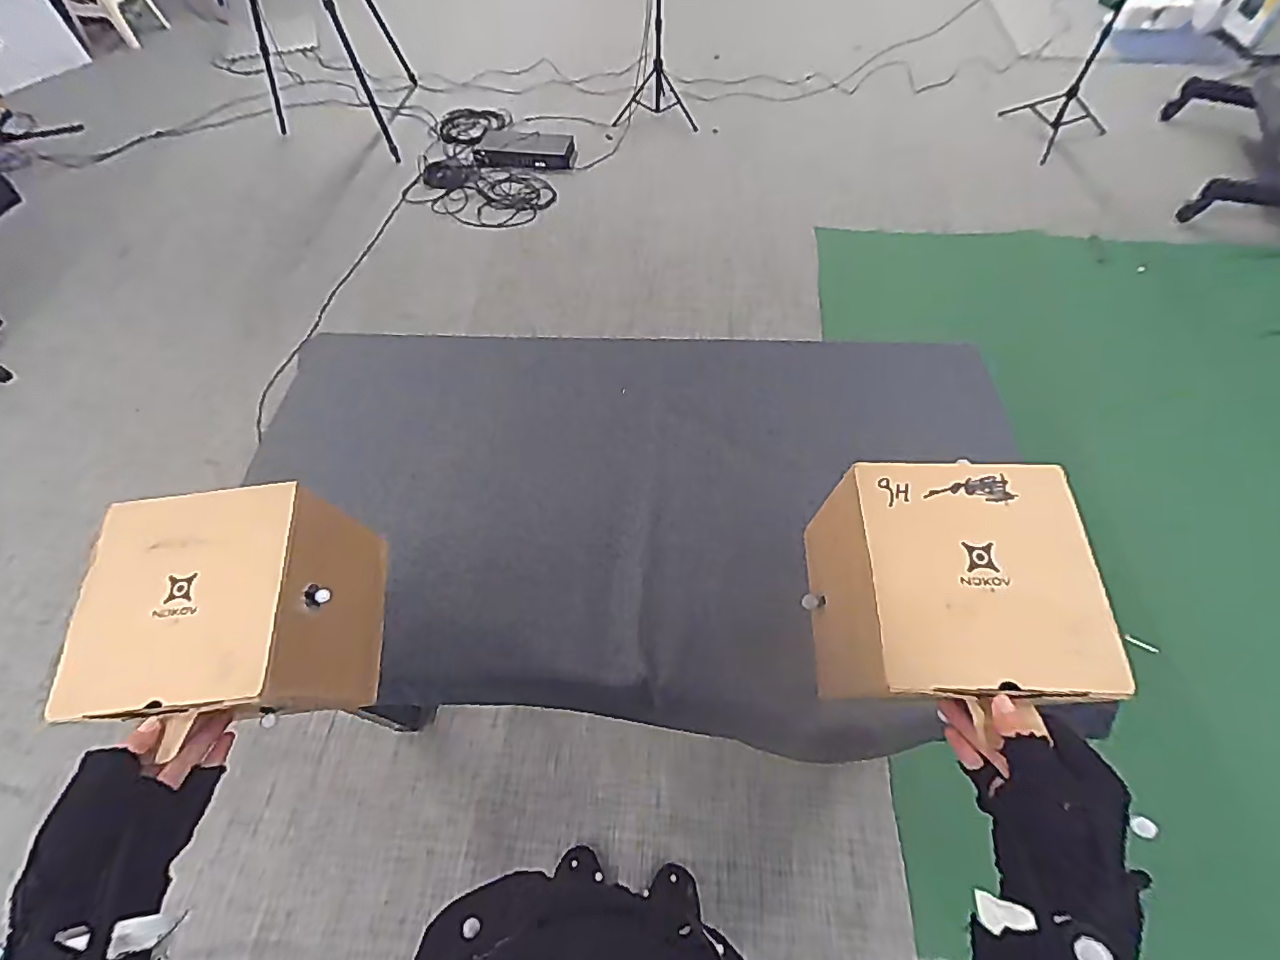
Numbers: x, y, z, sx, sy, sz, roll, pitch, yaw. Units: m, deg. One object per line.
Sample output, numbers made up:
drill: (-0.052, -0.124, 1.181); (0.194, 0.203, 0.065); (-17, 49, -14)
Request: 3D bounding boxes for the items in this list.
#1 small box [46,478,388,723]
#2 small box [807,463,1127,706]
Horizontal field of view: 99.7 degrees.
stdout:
small box: (-0.352, 0.118, 0.495); (0.168, 0.176, 0.179); (-7, 66, 0)
small box: (0.253, 0.099, 0.472); (0.168, 0.176, 0.179); (1, 67, 2)
